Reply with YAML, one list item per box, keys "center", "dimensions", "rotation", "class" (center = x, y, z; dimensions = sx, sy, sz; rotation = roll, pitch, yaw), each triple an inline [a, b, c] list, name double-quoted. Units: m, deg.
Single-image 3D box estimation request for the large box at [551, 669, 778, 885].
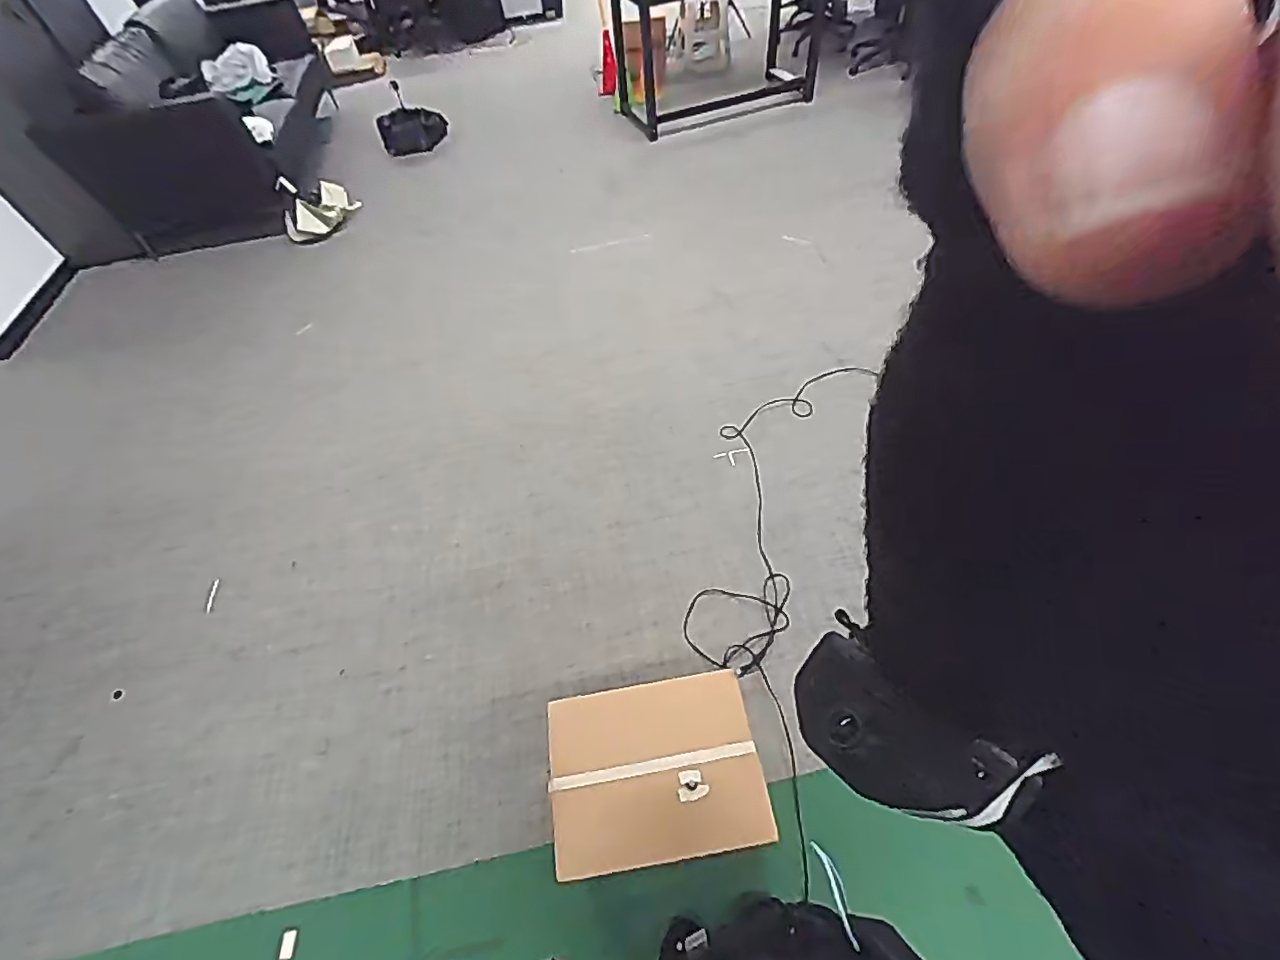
- center: [0.041, 0.648, 1.171]
  dimensions: [0.408, 0.320, 0.320]
  rotation: [-10, 53, -2]
  class: "large box"
